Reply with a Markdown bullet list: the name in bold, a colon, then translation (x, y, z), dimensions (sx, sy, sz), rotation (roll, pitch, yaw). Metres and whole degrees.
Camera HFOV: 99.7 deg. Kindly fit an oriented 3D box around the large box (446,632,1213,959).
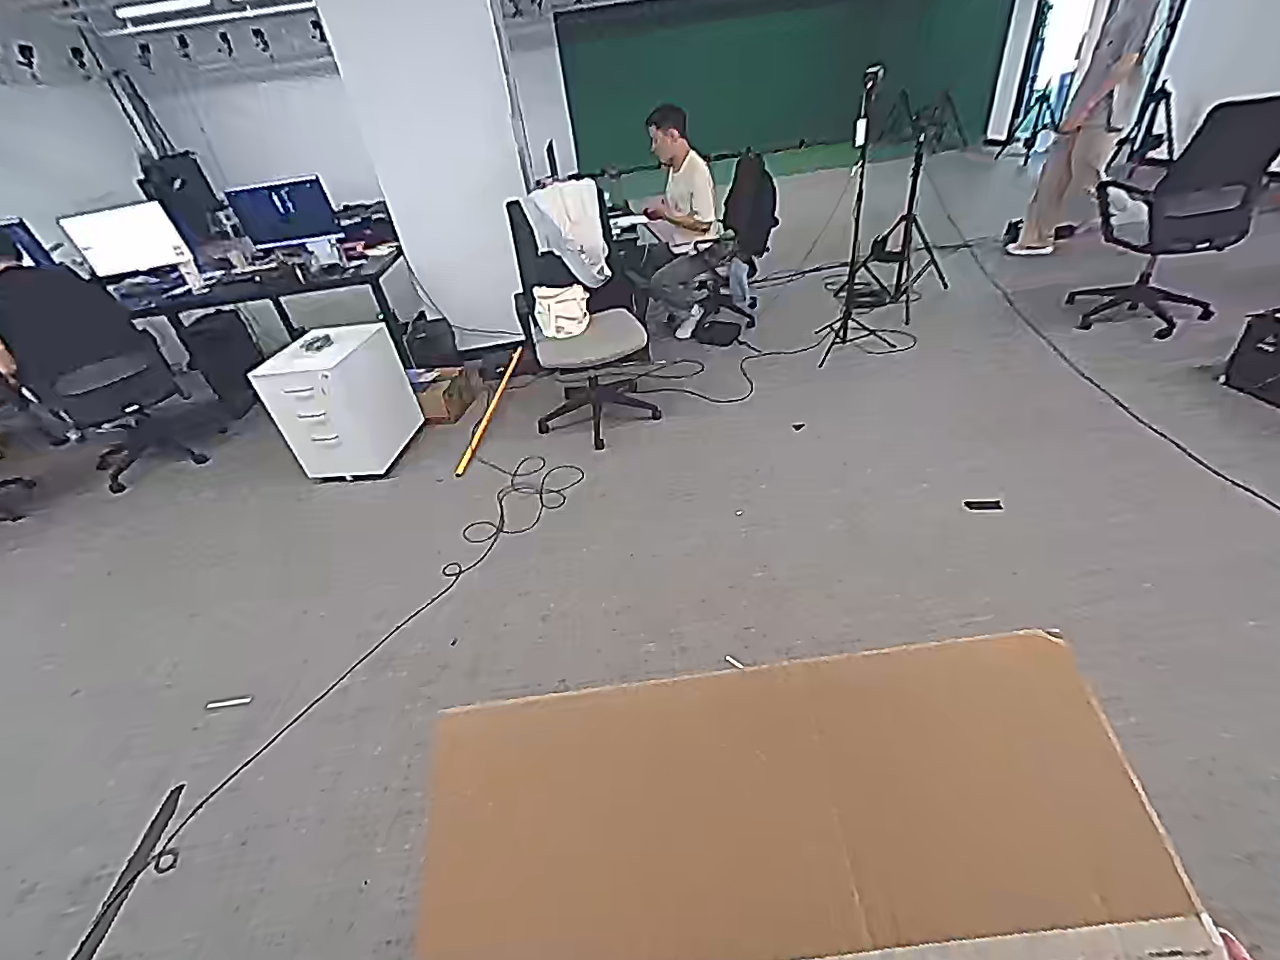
- **large box**: translation (0.103, 0.334, 0.411), dimensions (0.408, 0.320, 0.320), rotation (-8, 60, 2)
